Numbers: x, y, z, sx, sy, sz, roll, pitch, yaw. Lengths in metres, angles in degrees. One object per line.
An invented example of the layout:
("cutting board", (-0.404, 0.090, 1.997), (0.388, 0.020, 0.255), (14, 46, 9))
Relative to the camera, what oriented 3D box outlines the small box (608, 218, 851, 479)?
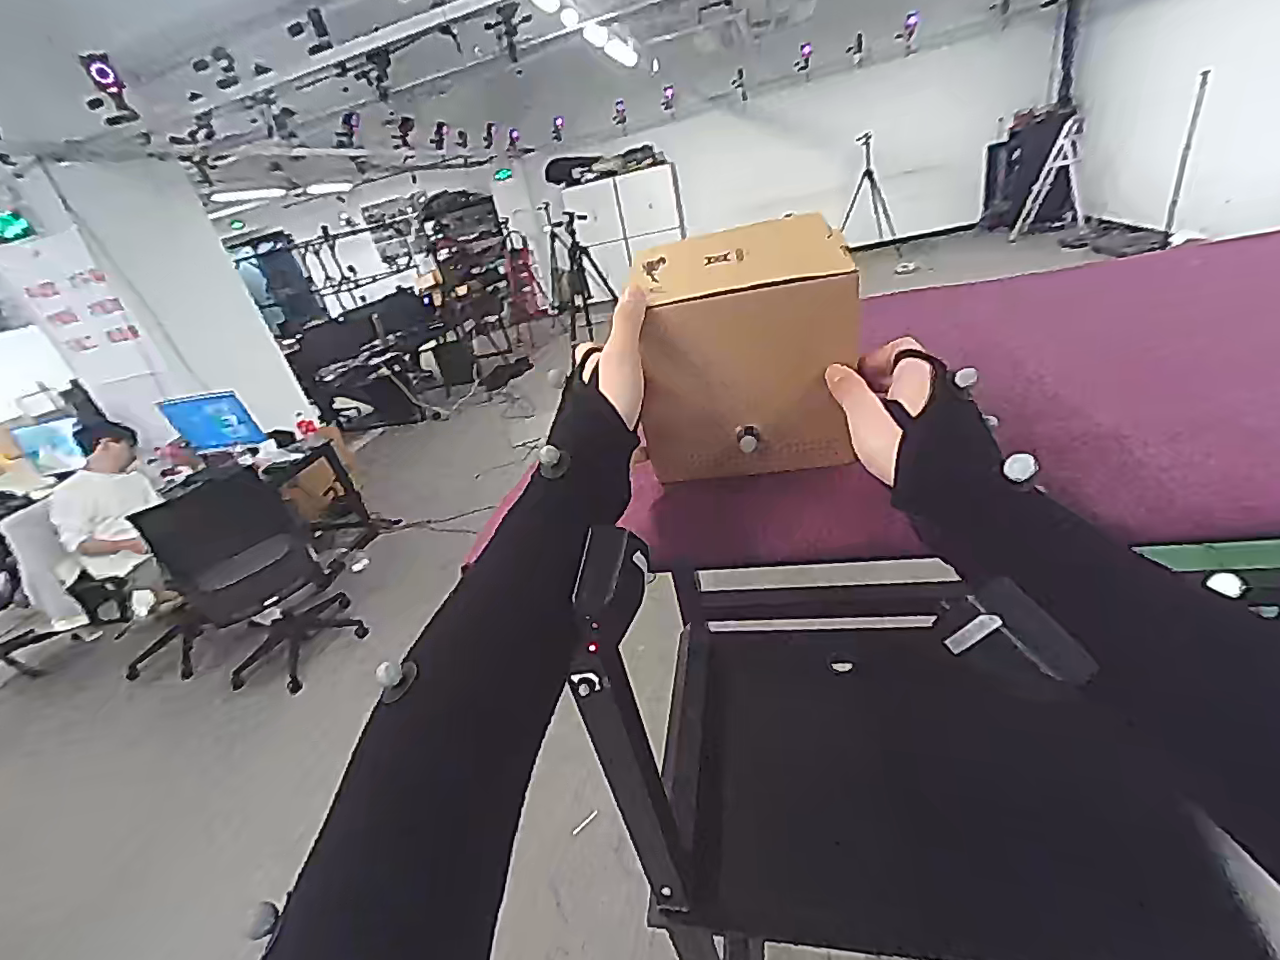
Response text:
("small box", (0.086, -0.117, 0.495), (0.179, 0.176, 0.168), (-6, 35, 13))
